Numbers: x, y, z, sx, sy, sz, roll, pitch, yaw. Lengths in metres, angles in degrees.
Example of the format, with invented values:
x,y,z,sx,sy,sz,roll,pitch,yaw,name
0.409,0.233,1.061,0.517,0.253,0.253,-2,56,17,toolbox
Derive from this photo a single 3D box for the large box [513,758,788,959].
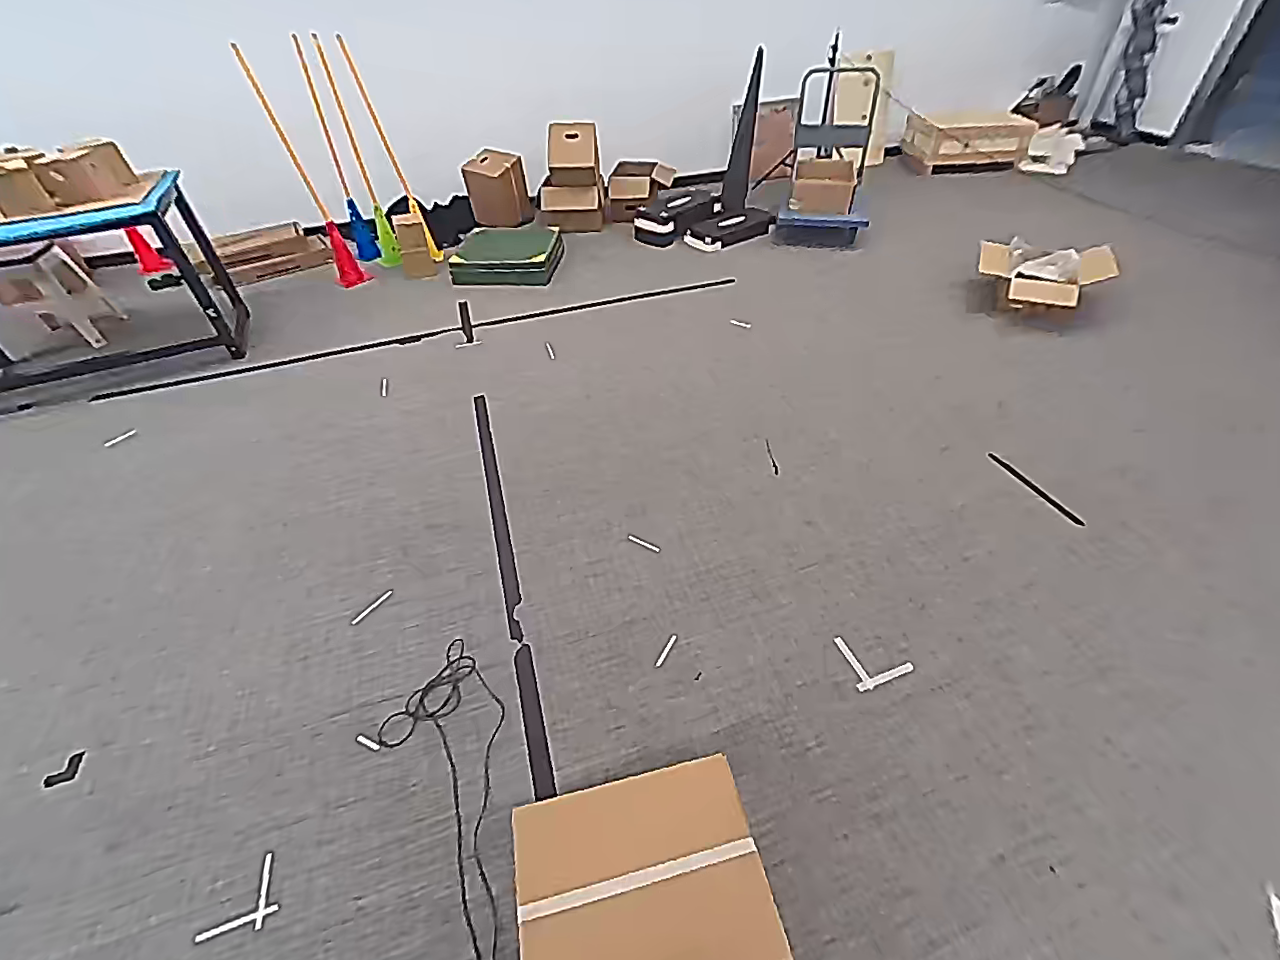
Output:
x,y,z,sx,sy,sz,roll,pitch,yaw,name
0.005,0.774,0.996,0.408,0.320,0.320,-10,43,-9,large box
